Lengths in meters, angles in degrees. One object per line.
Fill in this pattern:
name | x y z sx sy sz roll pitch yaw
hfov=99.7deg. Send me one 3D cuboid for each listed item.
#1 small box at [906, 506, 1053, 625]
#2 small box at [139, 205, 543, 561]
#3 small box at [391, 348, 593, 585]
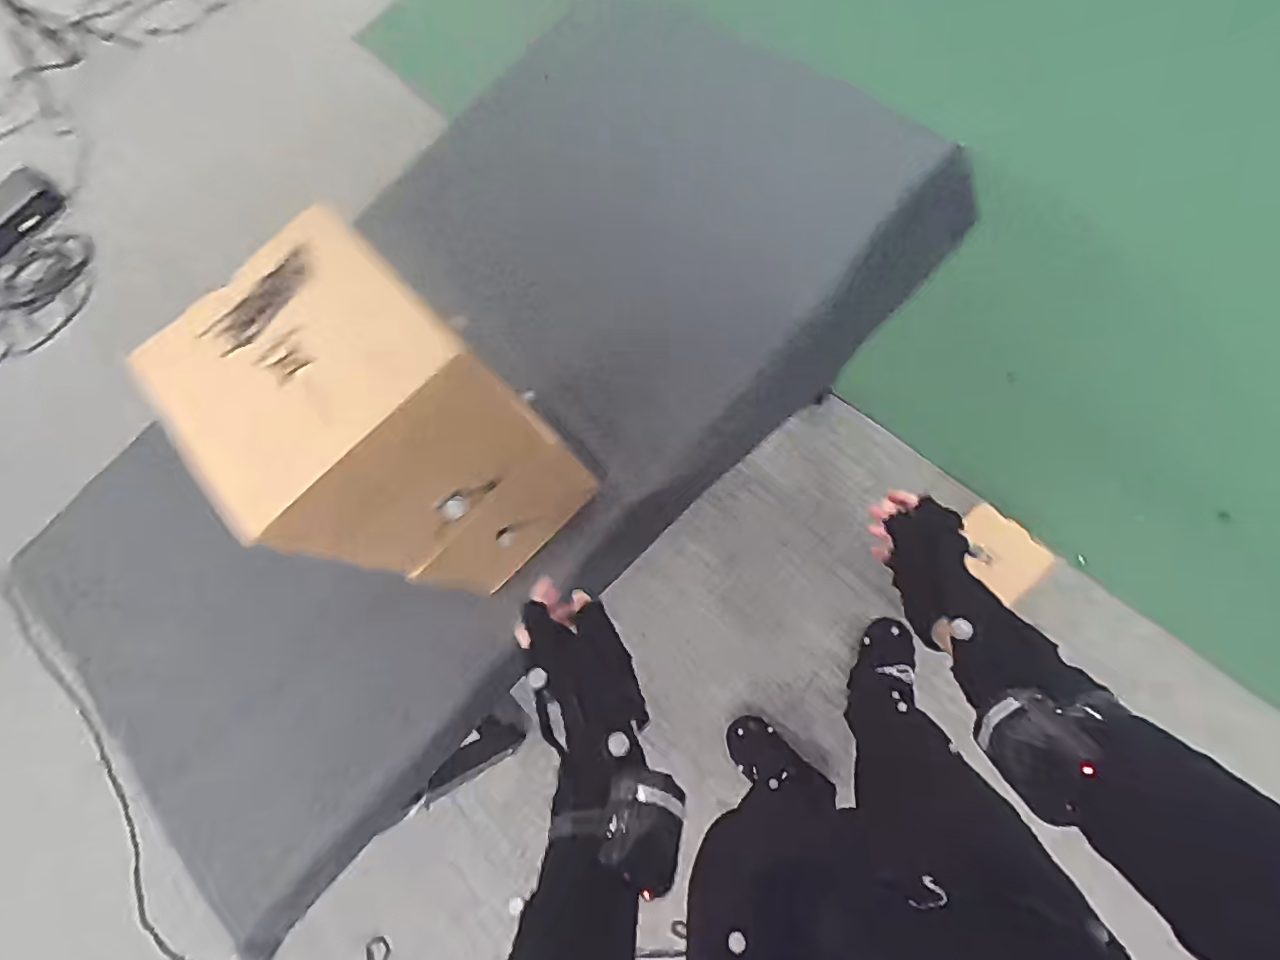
small box | 0.695 0.182 1.133 0.179 0.176 0.168 -44 71 -2
small box | -0.207 -0.057 0.416 0.168 0.176 0.179 -43 72 -4
small box | -0.176 -0.007 0.570 0.179 0.176 0.168 -45 72 -4
